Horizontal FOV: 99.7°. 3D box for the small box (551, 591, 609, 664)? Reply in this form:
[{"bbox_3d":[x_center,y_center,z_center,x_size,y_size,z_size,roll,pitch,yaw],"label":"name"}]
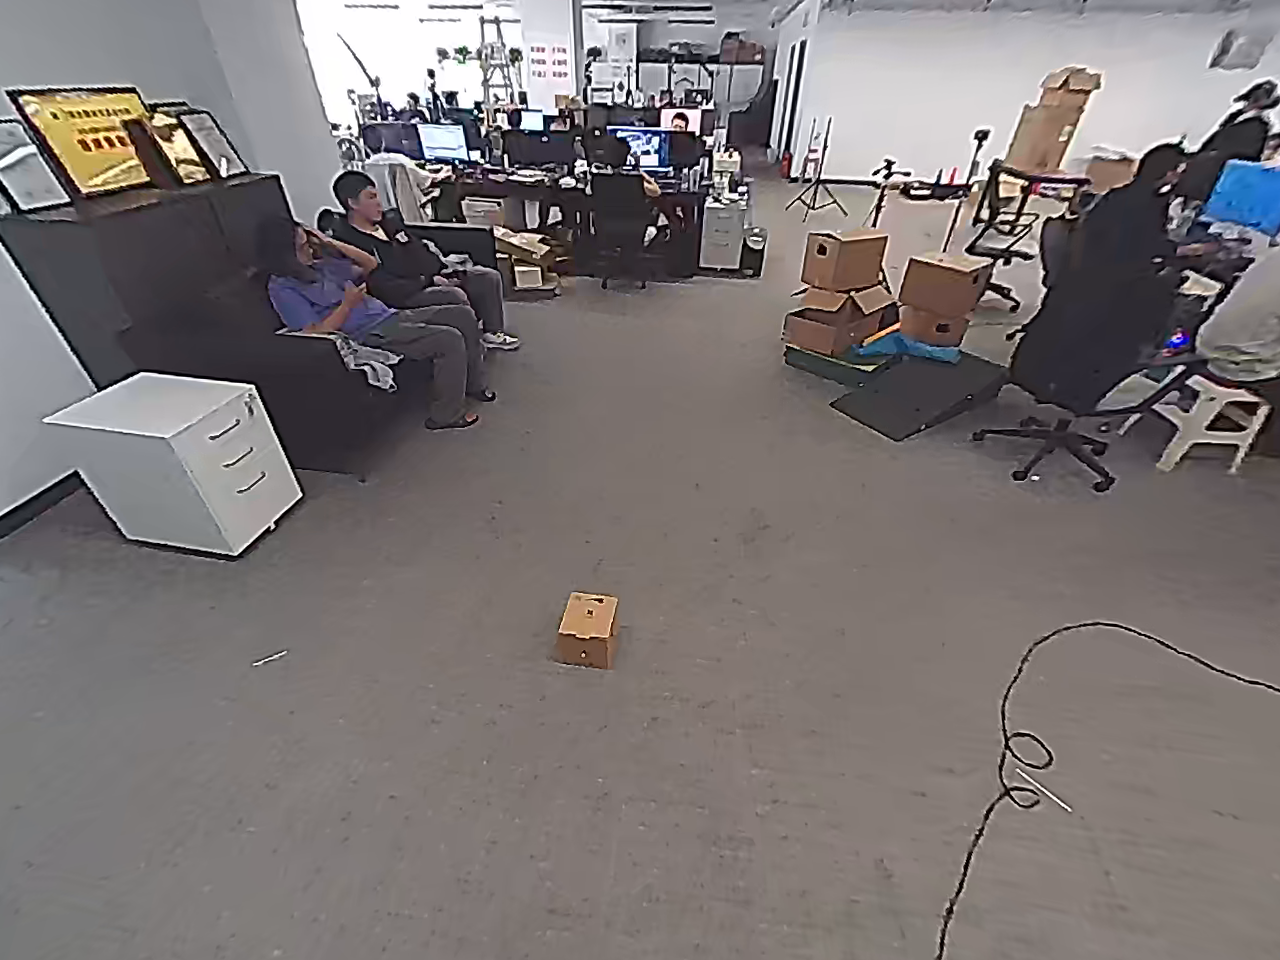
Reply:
[{"bbox_3d":[-0.198,0.504,1.846,0.168,0.176,0.179,4,37,5],"label":"small box"}]
